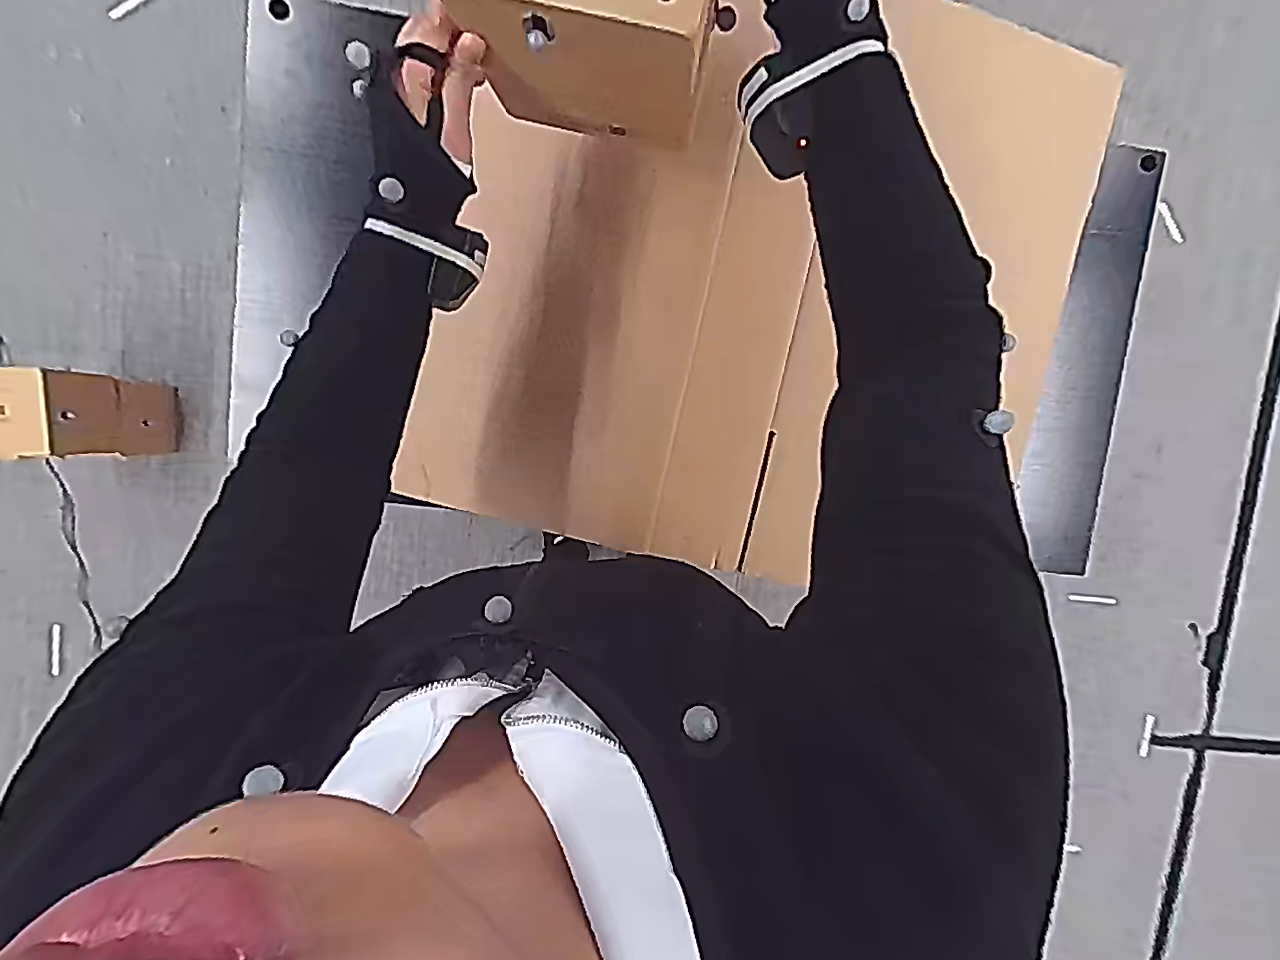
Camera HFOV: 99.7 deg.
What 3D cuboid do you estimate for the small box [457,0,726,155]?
[{"bbox_3d":[-0.022,-0.368,0.376,0.168,0.176,0.179,13,100,2],"label":"small box"}]

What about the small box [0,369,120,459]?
[{"bbox_3d":[-1.235,-0.134,1.119,0.168,0.176,0.179,-1,95,-5],"label":"small box"}]

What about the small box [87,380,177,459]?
[{"bbox_3d":[-1.246,-0.144,1.281,0.168,0.176,0.179,2,96,-5],"label":"small box"}]
